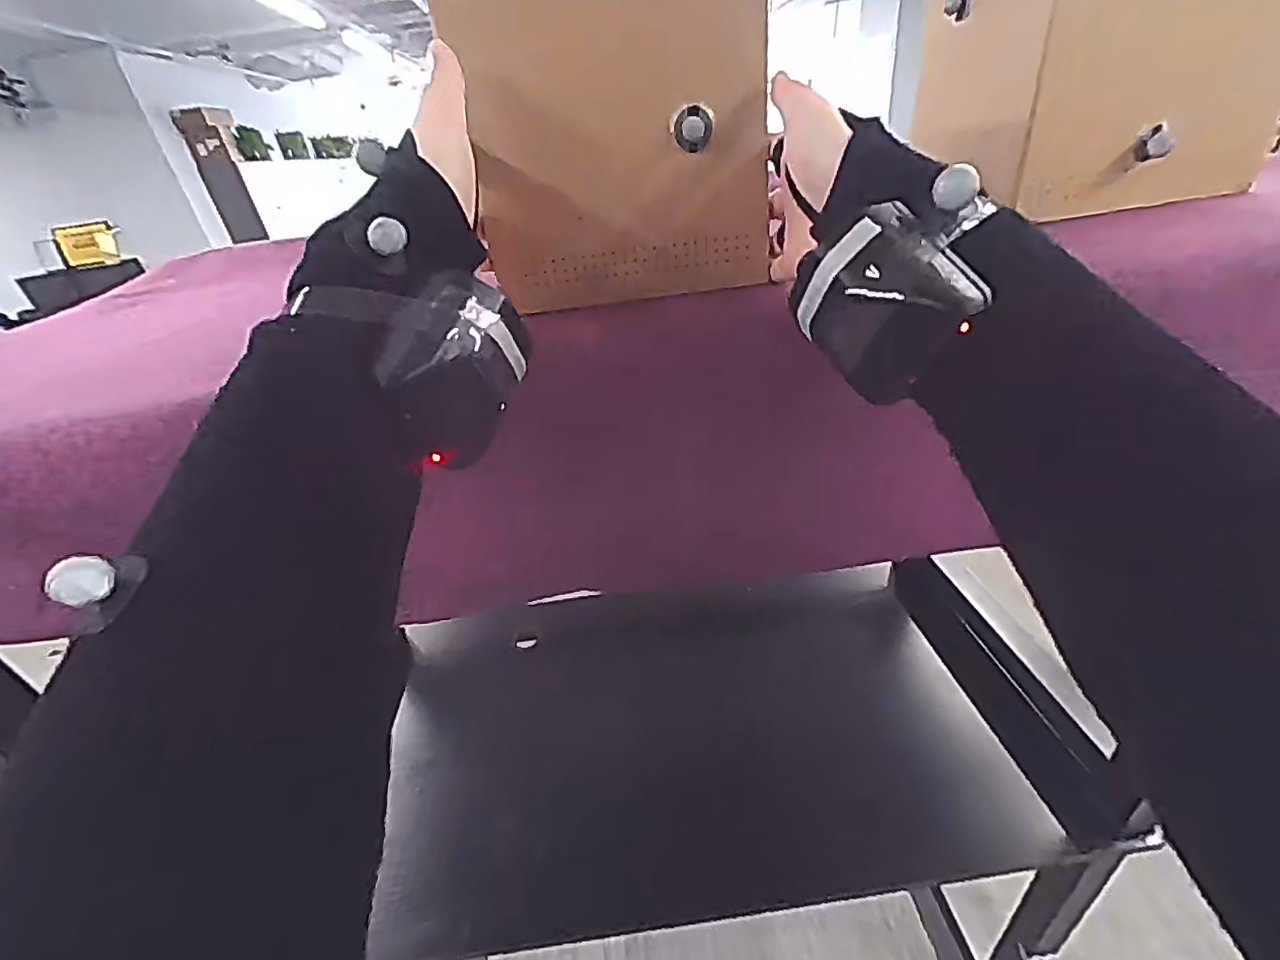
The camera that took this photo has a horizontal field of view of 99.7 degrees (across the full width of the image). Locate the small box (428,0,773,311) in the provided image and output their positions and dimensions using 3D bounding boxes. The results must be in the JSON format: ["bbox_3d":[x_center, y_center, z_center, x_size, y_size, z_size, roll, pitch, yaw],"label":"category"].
[{"bbox_3d":[-0.013,-0.228,0.373,0.179,0.176,0.168,-7,30,3],"label":"small box"}]

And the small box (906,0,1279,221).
[{"bbox_3d":[0.331,-0.307,0.411,0.179,0.176,0.168,-8,31,1],"label":"small box"}]
